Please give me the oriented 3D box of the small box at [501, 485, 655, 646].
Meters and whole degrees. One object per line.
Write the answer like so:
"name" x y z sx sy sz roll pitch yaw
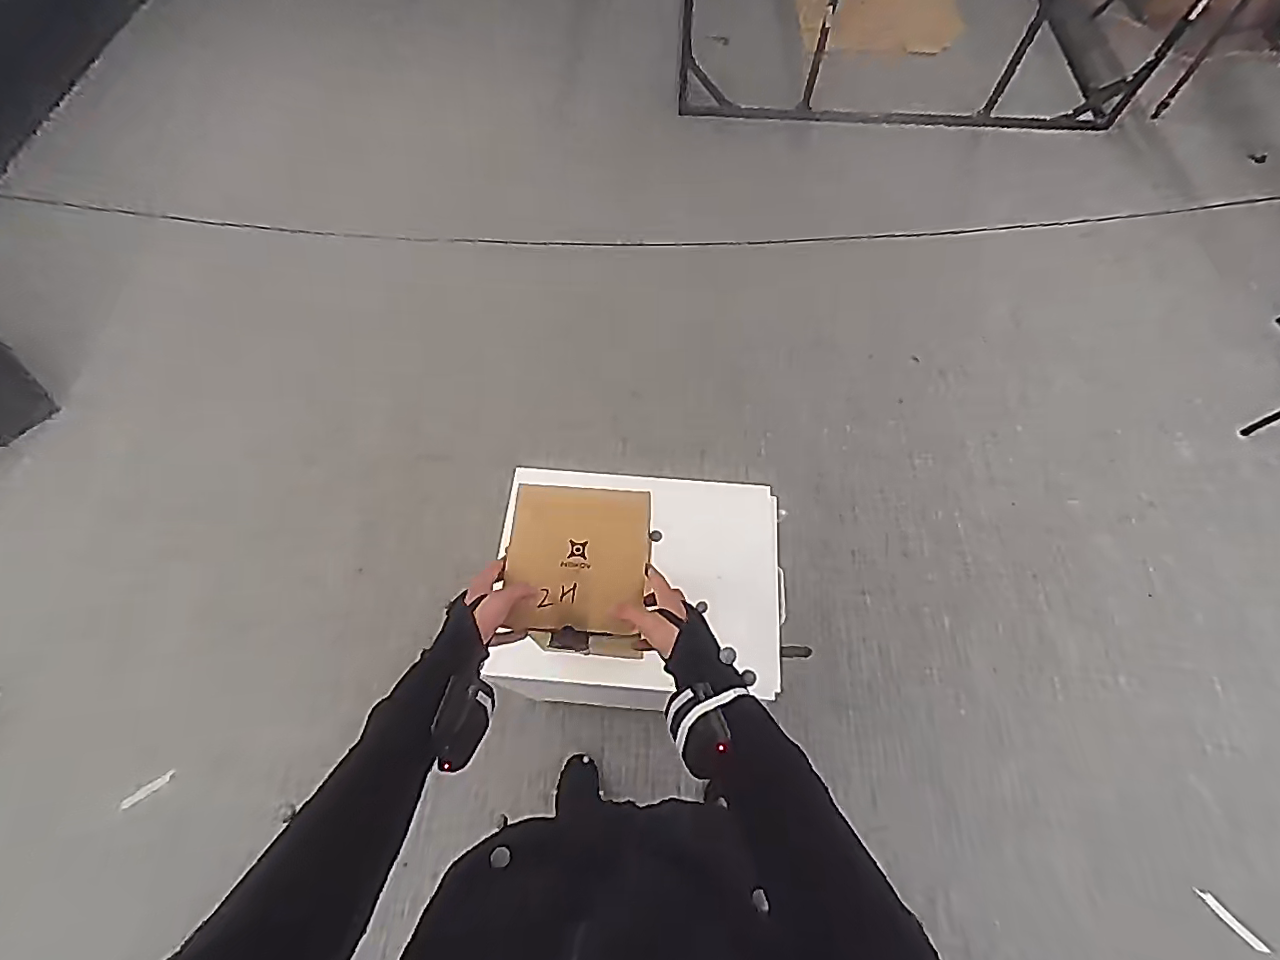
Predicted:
"small box" -0.071 0.120 0.715 0.168 0.176 0.179 4 71 3
